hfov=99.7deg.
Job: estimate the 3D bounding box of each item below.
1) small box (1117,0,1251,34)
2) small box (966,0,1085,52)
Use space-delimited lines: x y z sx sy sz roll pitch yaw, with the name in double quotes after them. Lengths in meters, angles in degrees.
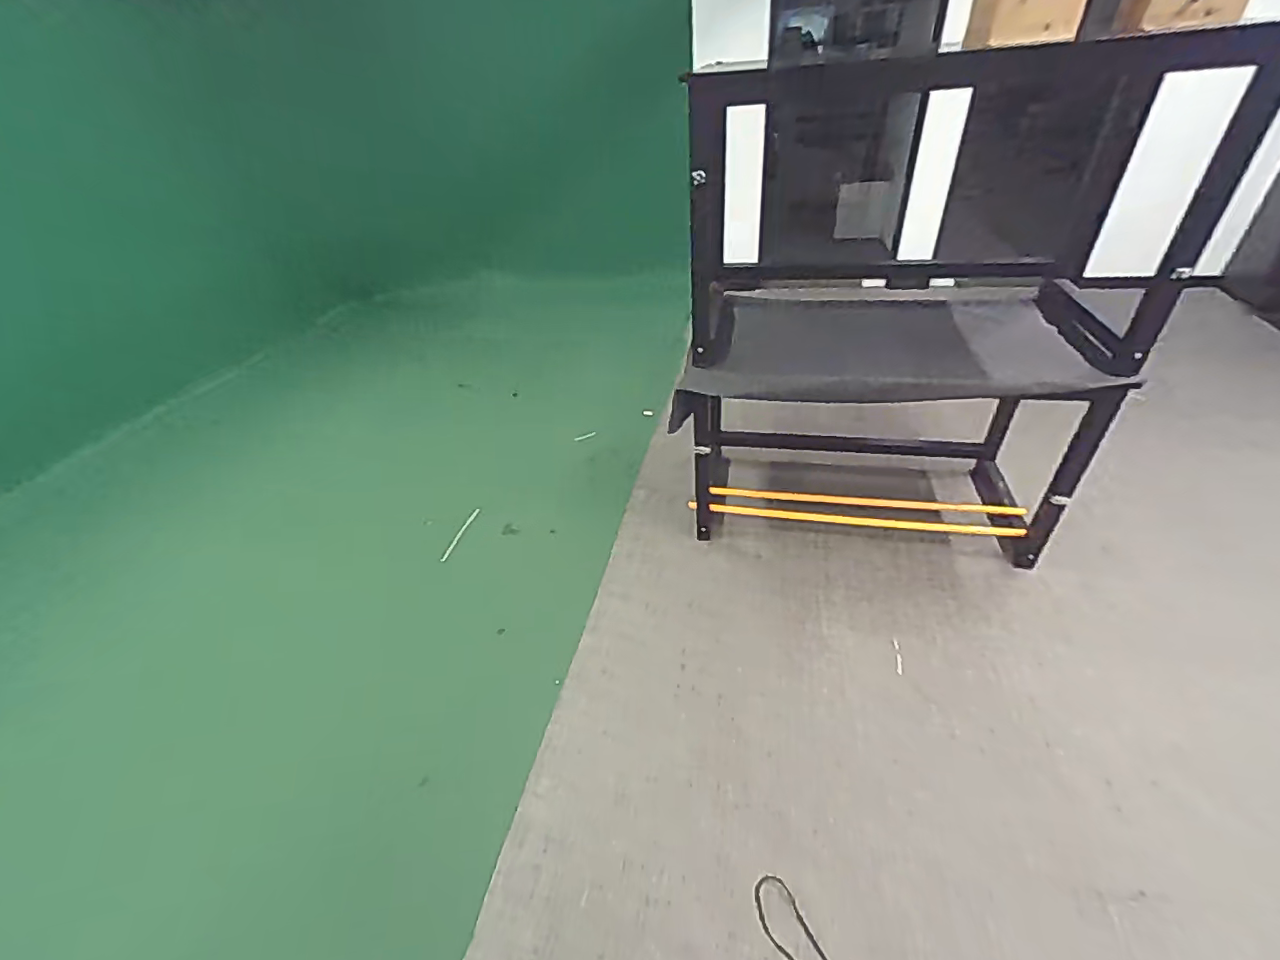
1.114 -1.013 1.088 0.168 0.176 0.179 7 40 17 "small box"
0.827 -1.026 1.147 0.168 0.176 0.179 1 38 8 "small box"
